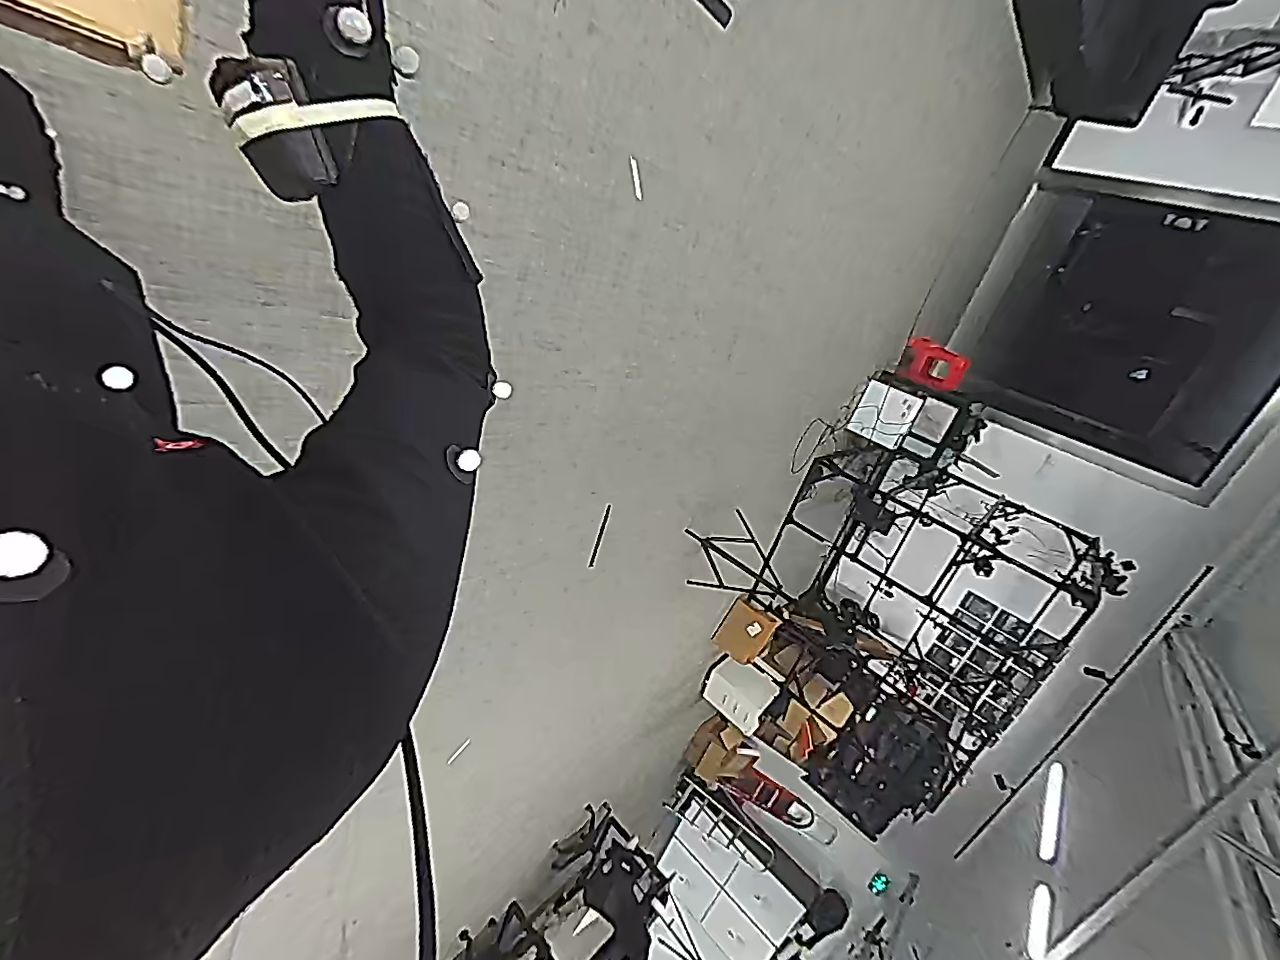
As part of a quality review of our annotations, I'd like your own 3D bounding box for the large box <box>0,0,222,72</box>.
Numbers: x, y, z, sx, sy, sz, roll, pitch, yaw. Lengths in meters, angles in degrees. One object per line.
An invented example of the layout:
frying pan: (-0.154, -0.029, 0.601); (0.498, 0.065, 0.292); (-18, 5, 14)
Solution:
large box: (-0.373, -0.453, 0.191); (0.320, 0.320, 0.408); (-6, 123, -47)
